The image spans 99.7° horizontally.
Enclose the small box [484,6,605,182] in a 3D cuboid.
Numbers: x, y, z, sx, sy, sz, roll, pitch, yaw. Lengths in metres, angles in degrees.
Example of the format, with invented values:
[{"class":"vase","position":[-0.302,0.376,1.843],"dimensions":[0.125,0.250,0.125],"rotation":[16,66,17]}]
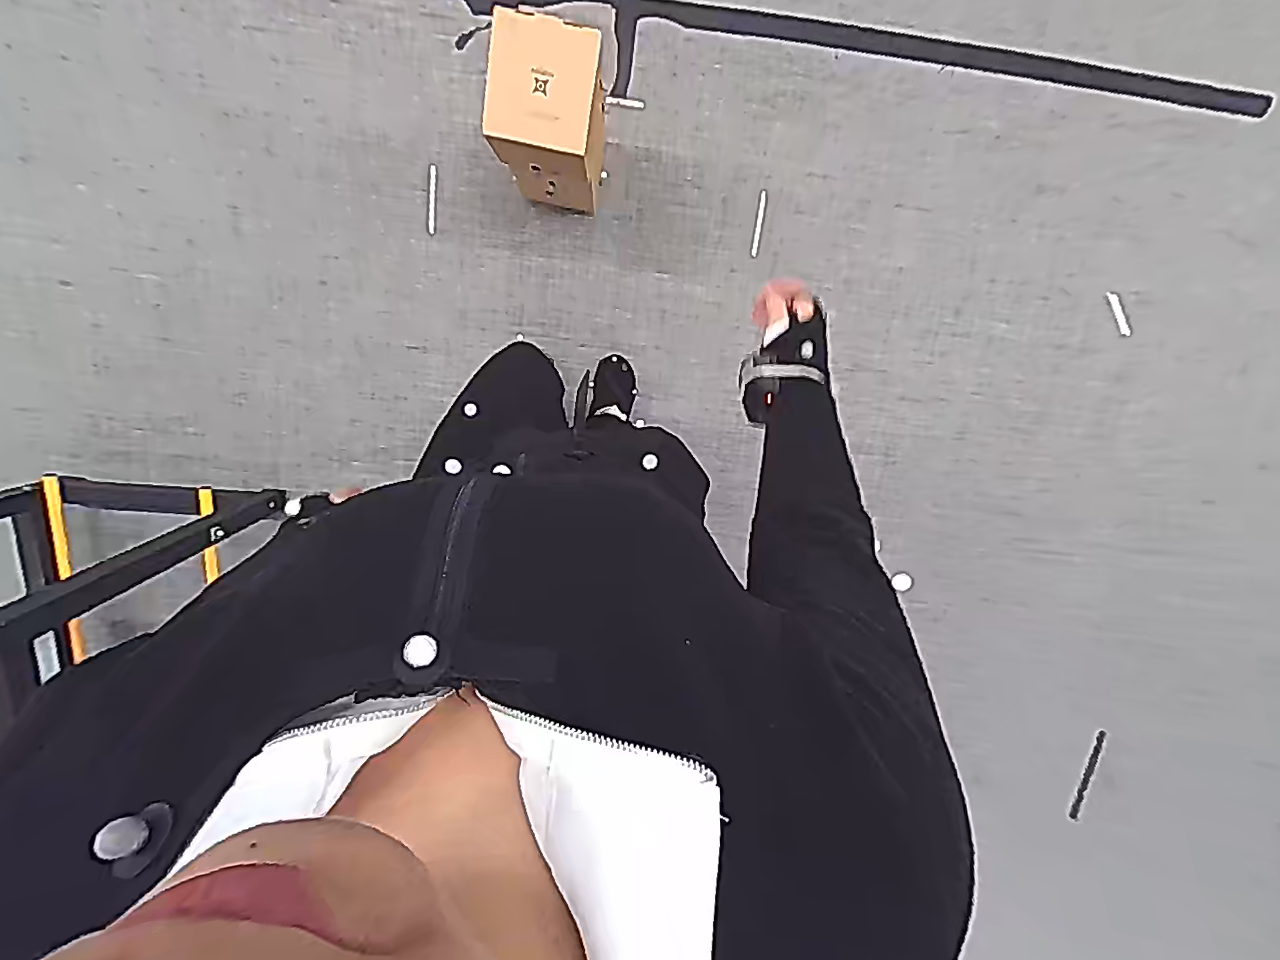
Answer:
[{"class":"small box","position":[-0.153,-0.629,0.905],"dimensions":[0.168,0.176,0.179],"rotation":[9,106,-5]}]

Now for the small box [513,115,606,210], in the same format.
[{"class":"small box","position":[-0.176,-0.725,1.218],"dimensions":[0.179,0.176,0.168],"rotation":[9,105,-6]}]

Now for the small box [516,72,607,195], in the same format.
[{"class":"small box","position":[-0.159,-0.685,1.059],"dimensions":[0.168,0.176,0.179],"rotation":[9,105,-5]}]
